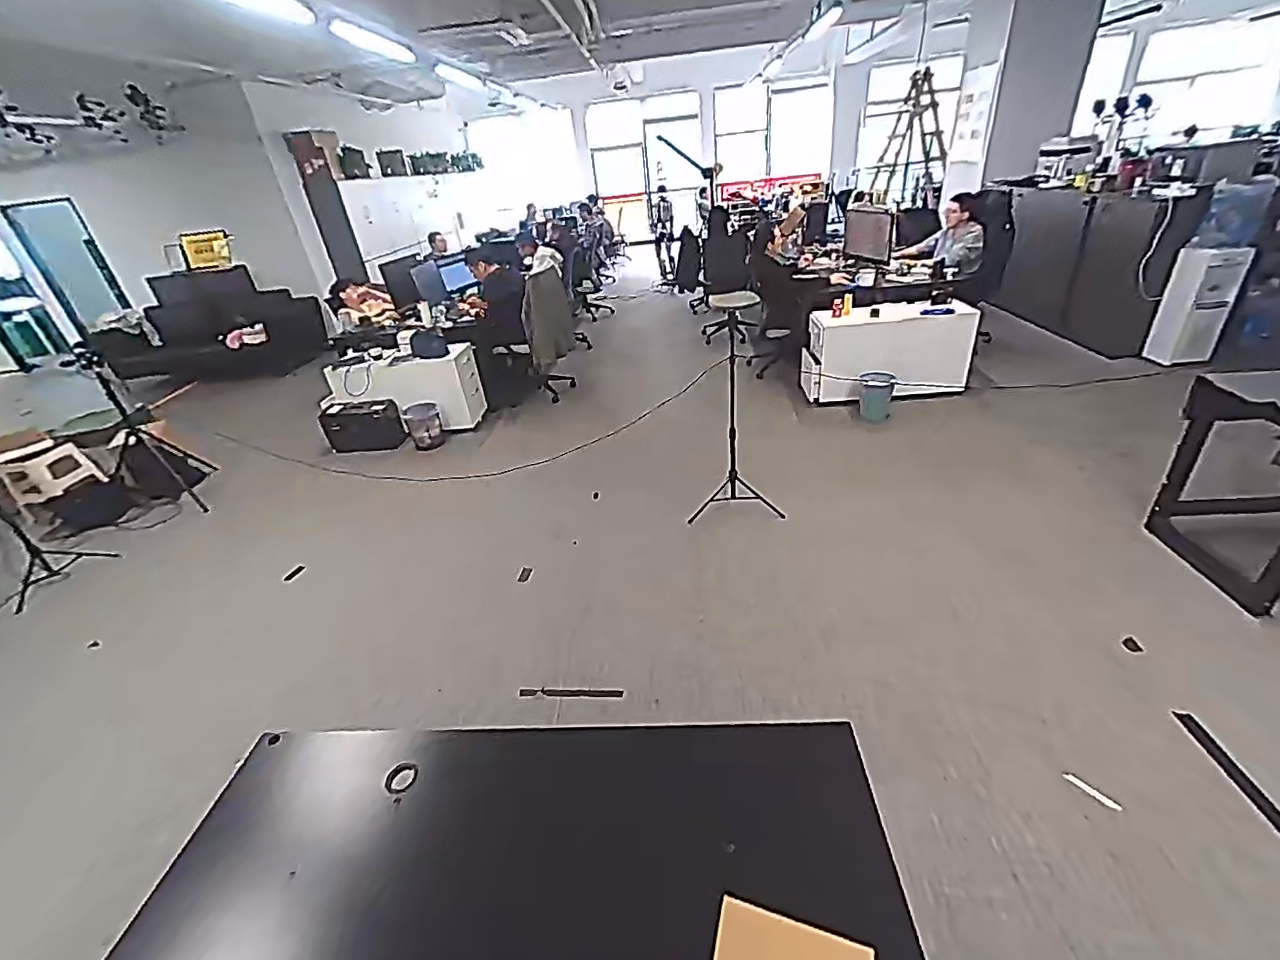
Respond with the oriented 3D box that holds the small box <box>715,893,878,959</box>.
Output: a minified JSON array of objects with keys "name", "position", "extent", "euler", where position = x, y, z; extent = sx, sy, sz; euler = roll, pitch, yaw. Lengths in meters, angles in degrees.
[{"name":"small box","position":[0.151,0.599,0.577],"extent":[0.168,0.176,0.179],"euler":[9,37,16]}]
